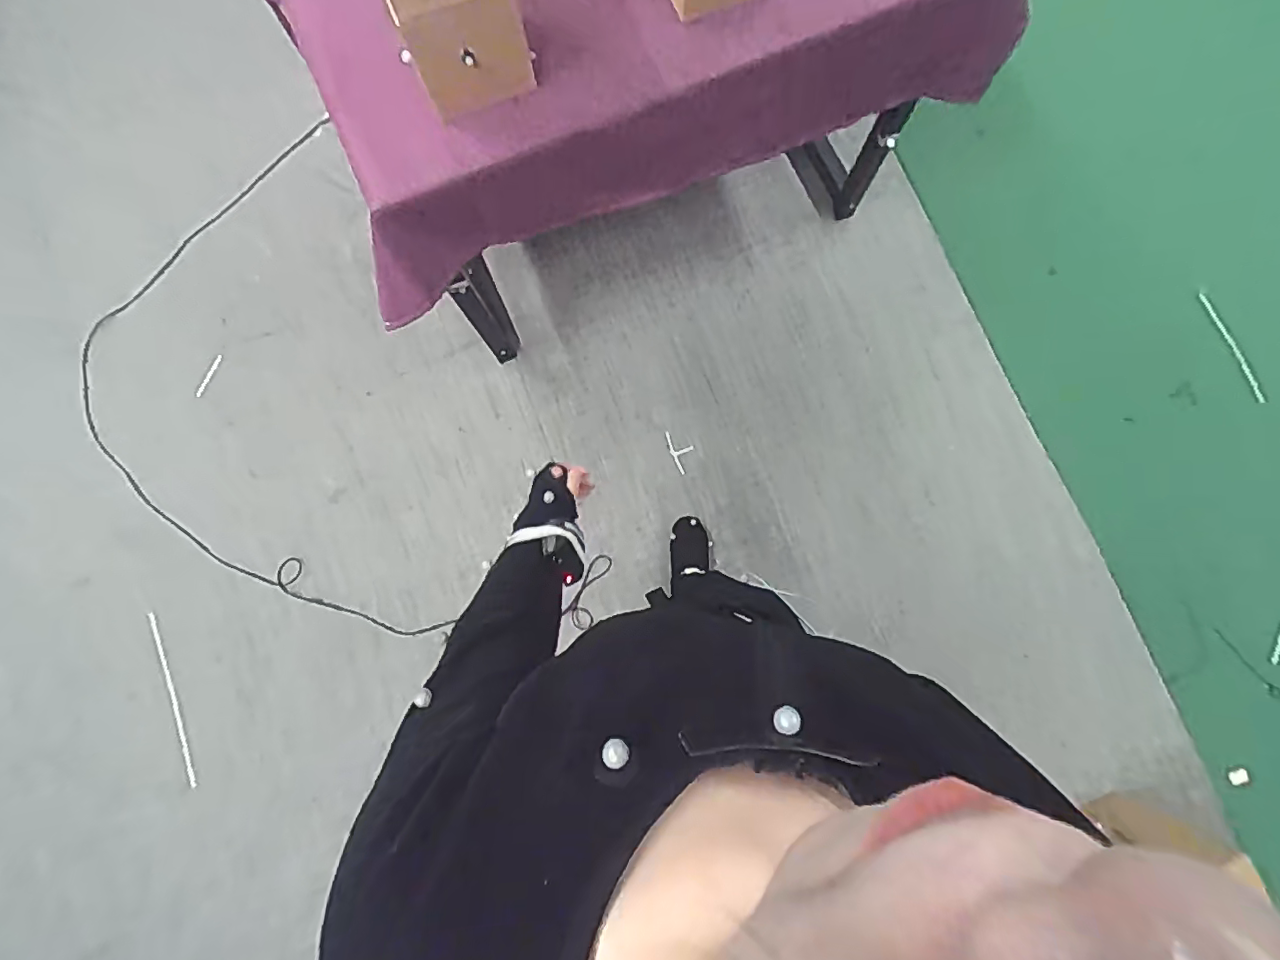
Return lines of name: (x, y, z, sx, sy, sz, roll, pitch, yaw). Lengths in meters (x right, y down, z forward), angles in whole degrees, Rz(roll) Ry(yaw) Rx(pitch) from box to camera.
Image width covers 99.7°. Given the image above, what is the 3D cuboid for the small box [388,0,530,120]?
small box: (-0.283, -0.716, 0.844, 0.179, 0.176, 0.168, -22, 81, -3)
